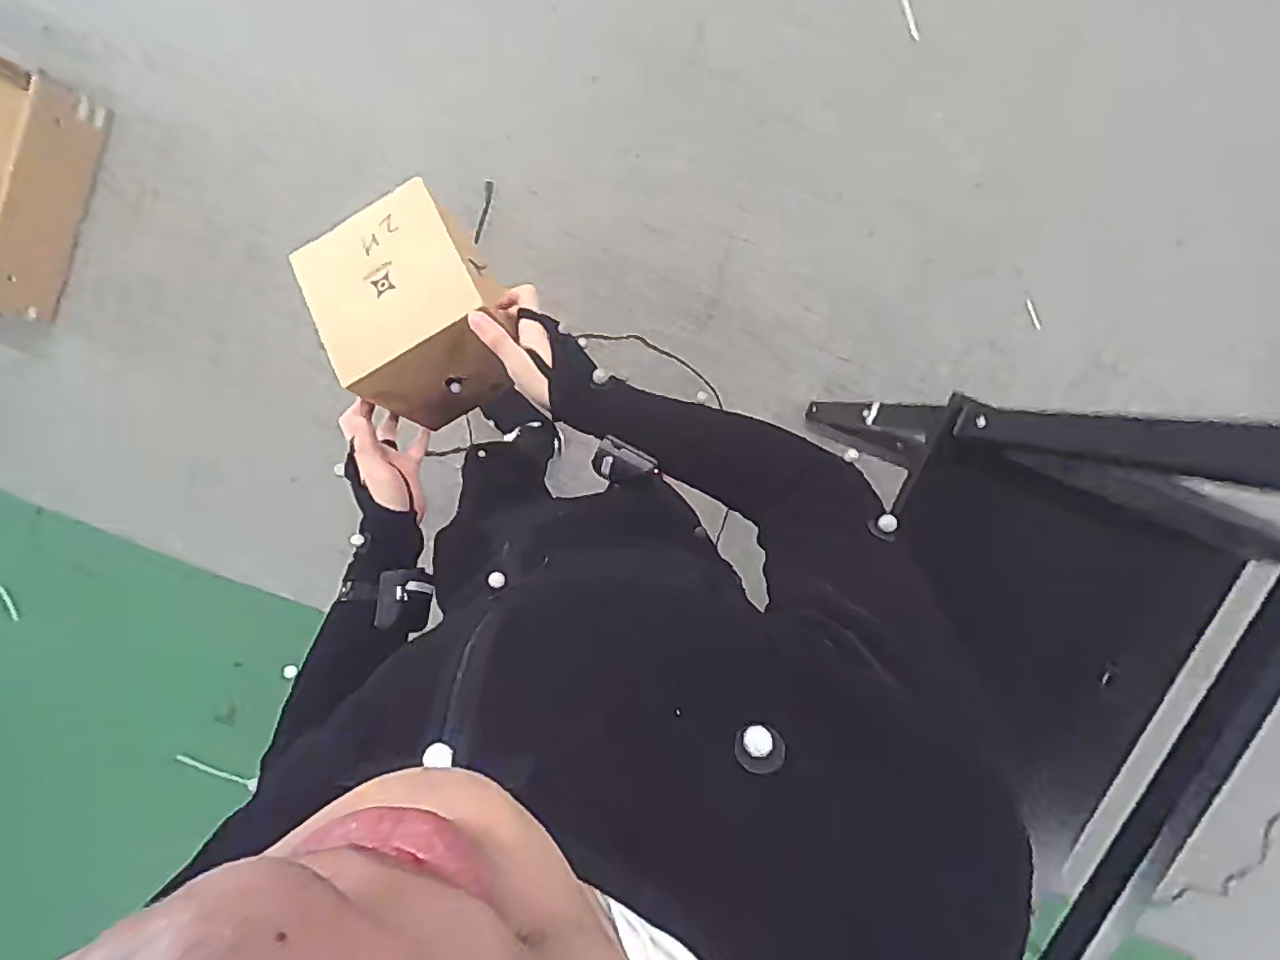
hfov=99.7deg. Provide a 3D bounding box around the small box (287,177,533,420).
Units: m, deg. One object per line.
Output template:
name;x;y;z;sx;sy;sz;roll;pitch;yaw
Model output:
small box;-0.246;-0.186;0.616;0.168;0.176;0.179;-29;76;3

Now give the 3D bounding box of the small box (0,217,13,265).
small box;-1.747;-0.624;1.344;0.179;0.176;0.168;25;98;-4
